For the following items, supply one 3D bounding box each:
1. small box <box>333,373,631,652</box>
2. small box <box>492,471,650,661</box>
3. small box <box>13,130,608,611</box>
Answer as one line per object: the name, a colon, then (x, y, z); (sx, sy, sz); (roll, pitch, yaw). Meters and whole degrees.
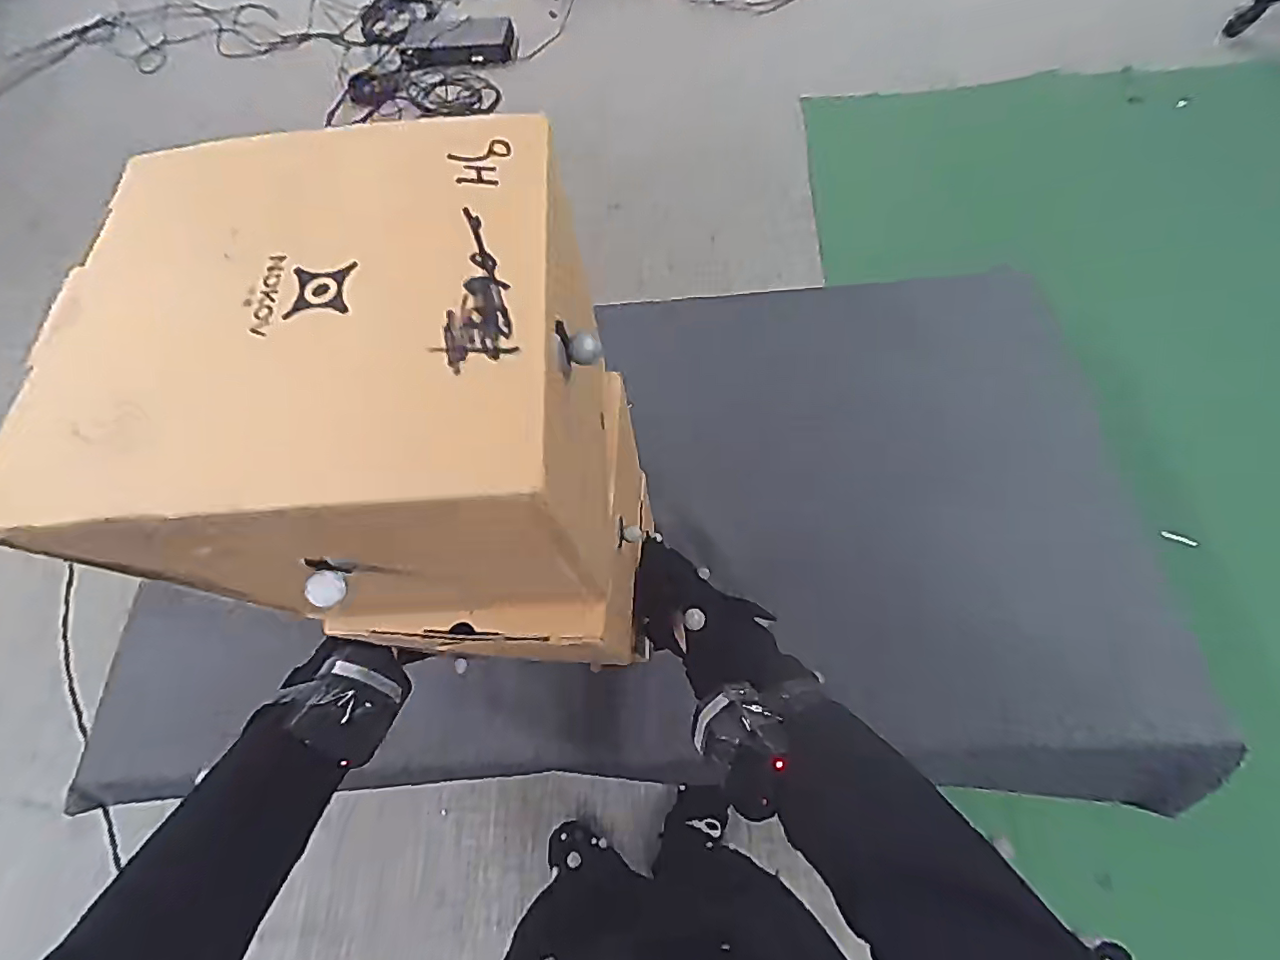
small box: (-0.097, 0.039, 0.419); (0.168, 0.176, 0.179); (-3, 68, 4)
small box: (-0.082, 0.097, 0.572); (0.179, 0.176, 0.168); (0, 67, 6)
small box: (-0.117, -0.037, 0.277); (0.179, 0.176, 0.168); (-7, 65, 1)
